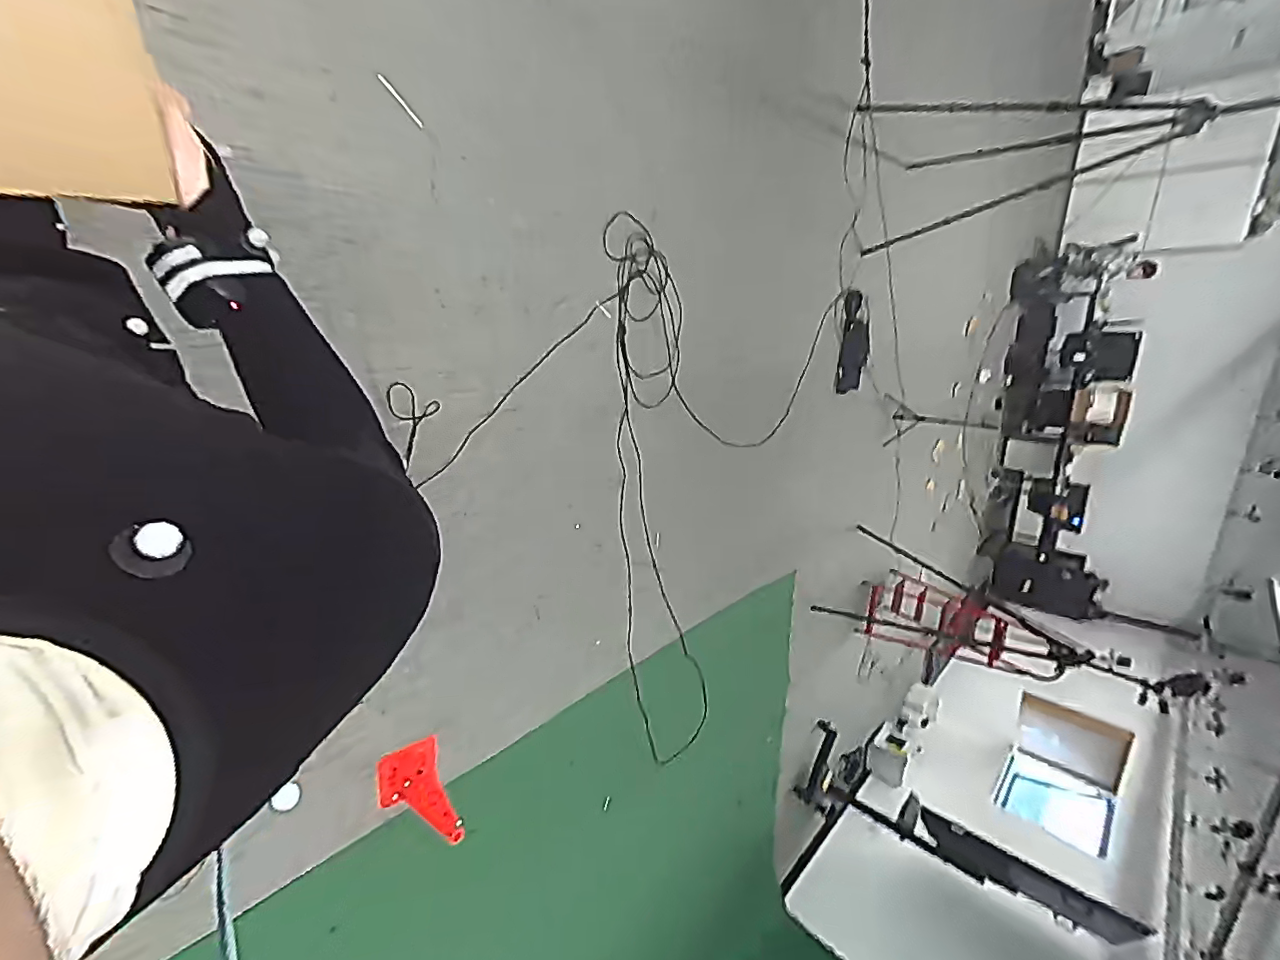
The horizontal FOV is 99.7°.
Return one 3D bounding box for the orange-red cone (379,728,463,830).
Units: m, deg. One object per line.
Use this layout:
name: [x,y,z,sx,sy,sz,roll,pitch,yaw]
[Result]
orange-red cone: [-0.681,1.014,1.766,0.199,0.360,0.198,-8,108,-47]
